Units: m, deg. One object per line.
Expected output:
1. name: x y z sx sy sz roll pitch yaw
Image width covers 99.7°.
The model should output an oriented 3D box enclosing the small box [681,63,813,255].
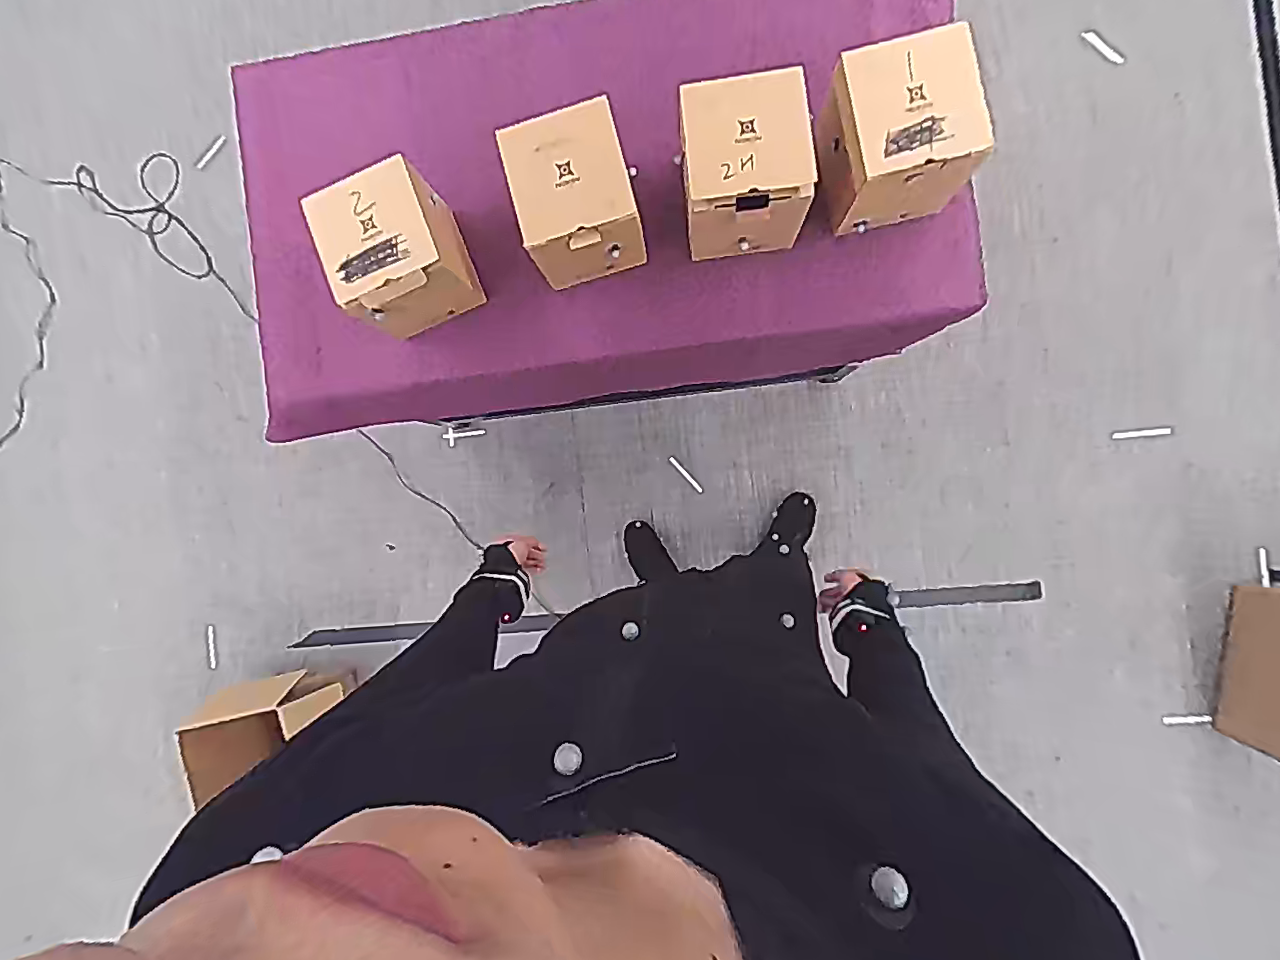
1. small box: 0.148 -0.460 0.800 0.168 0.176 0.179 -5 90 5

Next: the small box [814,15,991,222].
1. small box: 0.364 -0.498 0.780 0.168 0.176 0.179 -11 88 5

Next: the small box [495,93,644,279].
1. small box: -0.096 -0.427 0.824 0.168 0.176 0.179 -15 88 4
